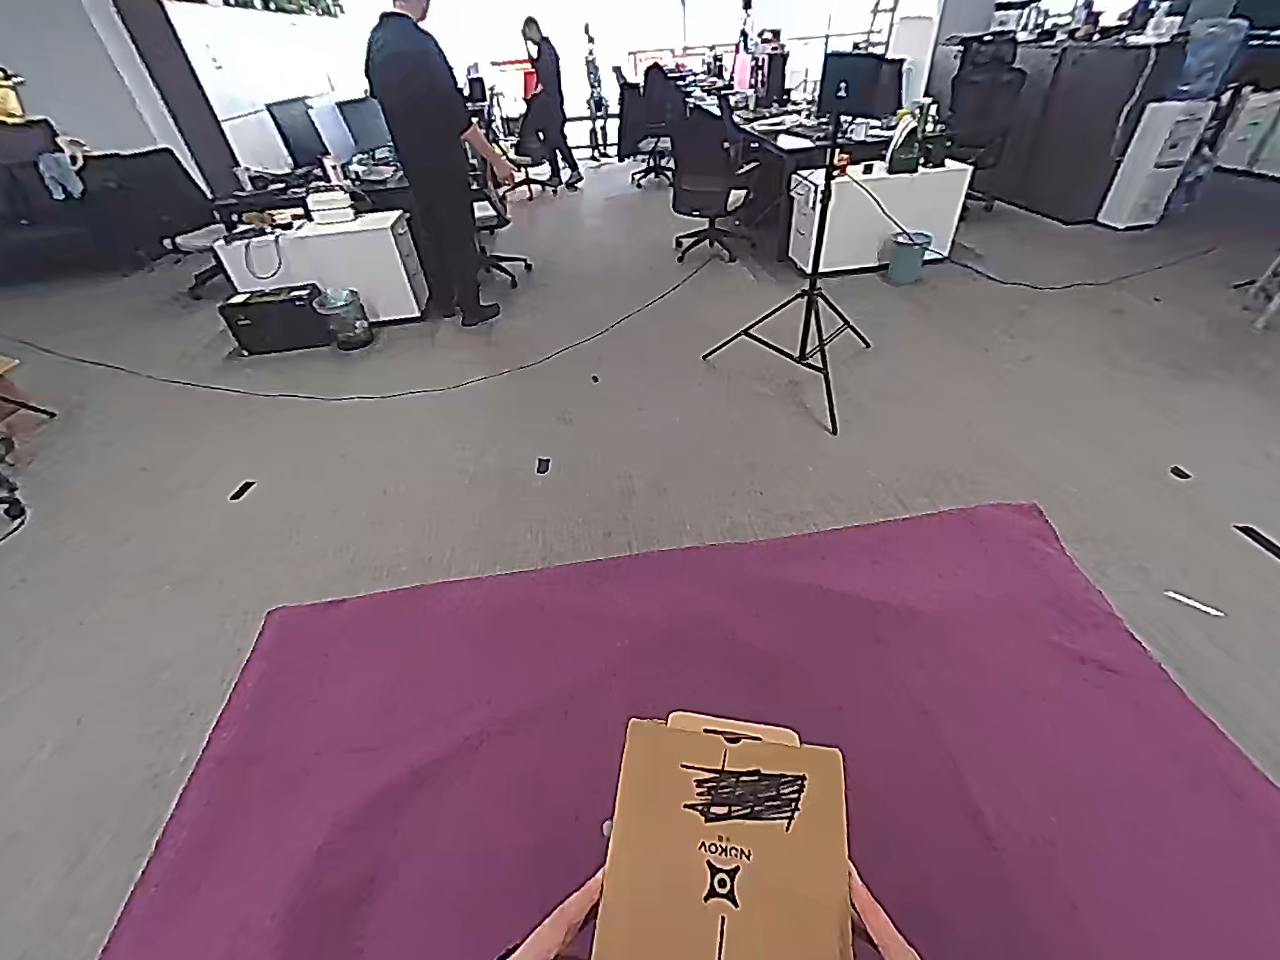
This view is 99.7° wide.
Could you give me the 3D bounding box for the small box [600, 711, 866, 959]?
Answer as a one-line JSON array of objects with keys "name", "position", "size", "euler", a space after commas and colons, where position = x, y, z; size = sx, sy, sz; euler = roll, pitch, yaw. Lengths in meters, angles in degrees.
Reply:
[{"name": "small box", "position": [0.072, 0.308, 0.431], "size": [0.168, 0.176, 0.179], "euler": [4, 52, 10]}]
